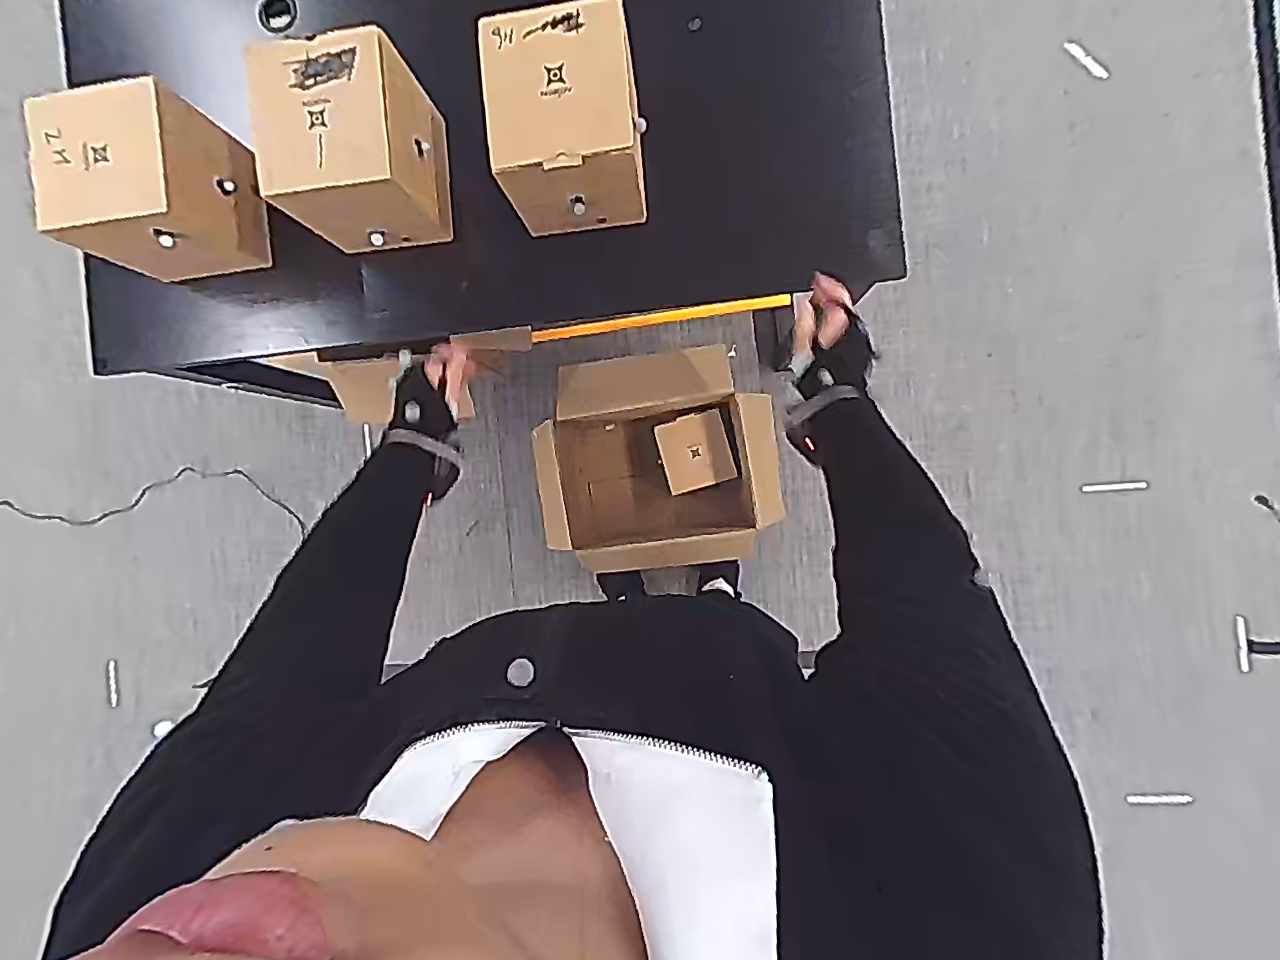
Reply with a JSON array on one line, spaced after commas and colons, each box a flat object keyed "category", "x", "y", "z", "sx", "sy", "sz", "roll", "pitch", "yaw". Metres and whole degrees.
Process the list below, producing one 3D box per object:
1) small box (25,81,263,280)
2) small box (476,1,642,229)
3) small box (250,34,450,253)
[{"category": "small box", "x": -0.647, "y": -0.388, "z": 0.730, "sx": 0.179, "sy": 0.176, "sz": 0.168, "roll": -6, "pitch": 89, "yaw": 5}, {"category": "small box", "x": -0.091, "y": -0.439, "z": 0.686, "sx": 0.168, "sy": 0.176, "sz": 0.179, "roll": -5, "pitch": 90, "yaw": 5}, {"category": "small box", "x": -0.365, "y": -0.424, "z": 0.708, "sx": 0.168, "sy": 0.176, "sz": 0.179, "roll": -4, "pitch": 90, "yaw": 5}]
